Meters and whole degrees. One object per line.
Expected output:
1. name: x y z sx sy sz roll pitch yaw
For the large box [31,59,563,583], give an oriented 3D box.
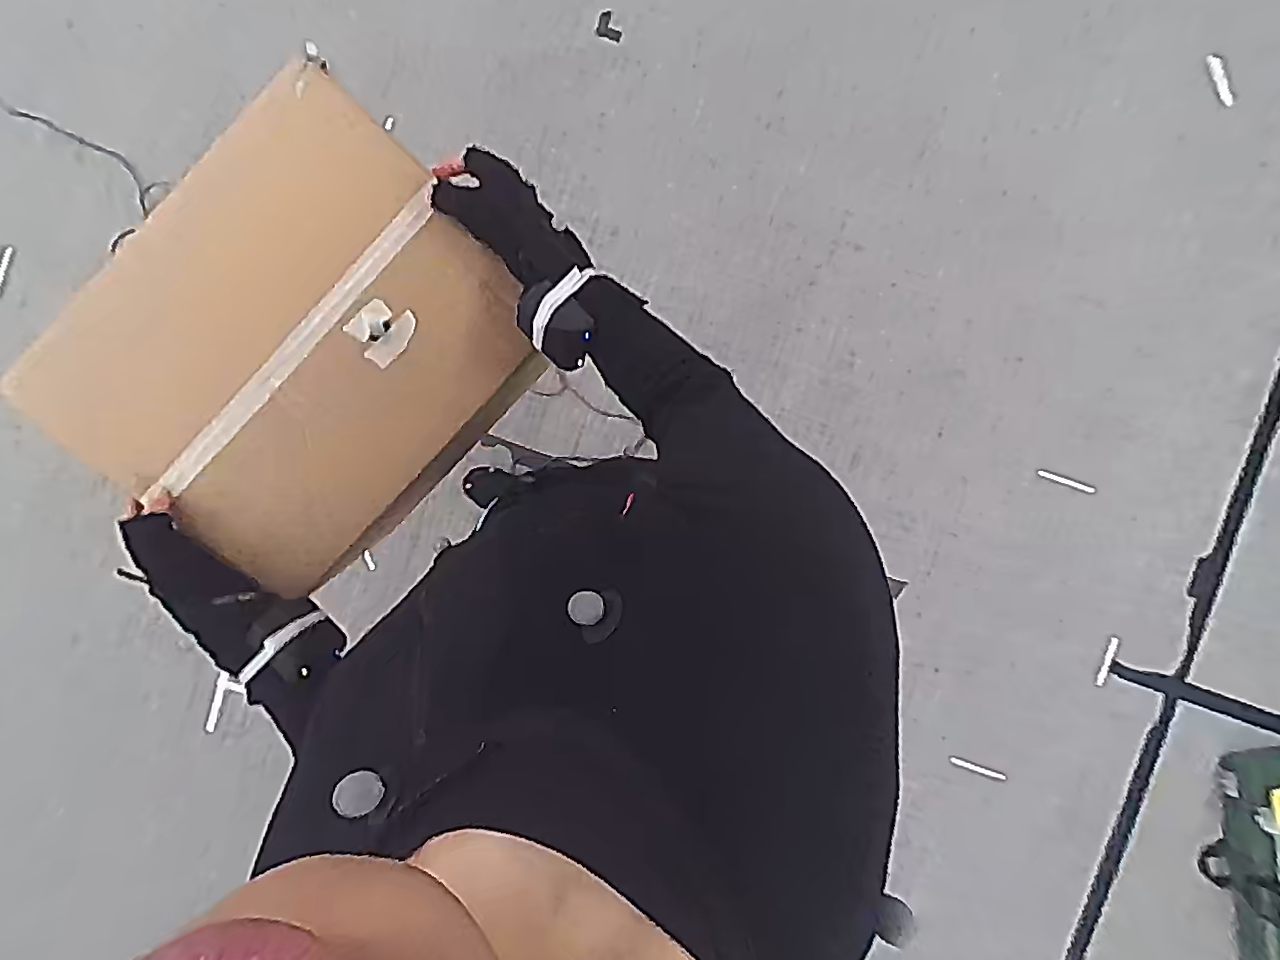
1. large box: -0.340 -0.157 0.666 0.320 0.320 0.408 44 91 -12
